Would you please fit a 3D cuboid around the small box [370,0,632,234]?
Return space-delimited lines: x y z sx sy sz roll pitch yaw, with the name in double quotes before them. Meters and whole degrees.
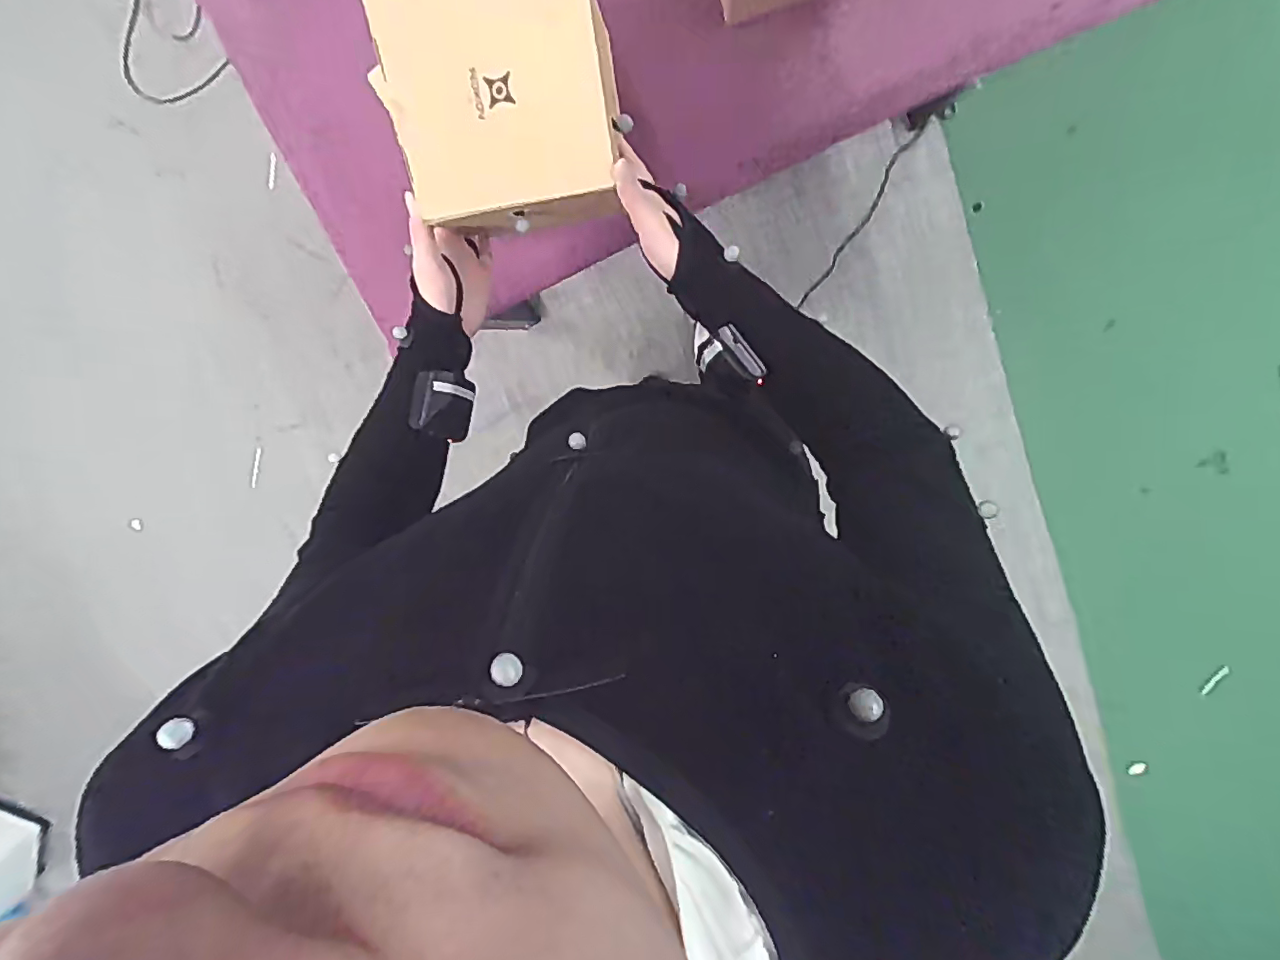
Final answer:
"small box" -0.105 -0.332 0.504 0.179 0.176 0.168 -6 111 8

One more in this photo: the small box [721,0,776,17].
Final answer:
"small box" 0.166 -0.685 0.615 0.179 0.176 0.168 -16 104 8
